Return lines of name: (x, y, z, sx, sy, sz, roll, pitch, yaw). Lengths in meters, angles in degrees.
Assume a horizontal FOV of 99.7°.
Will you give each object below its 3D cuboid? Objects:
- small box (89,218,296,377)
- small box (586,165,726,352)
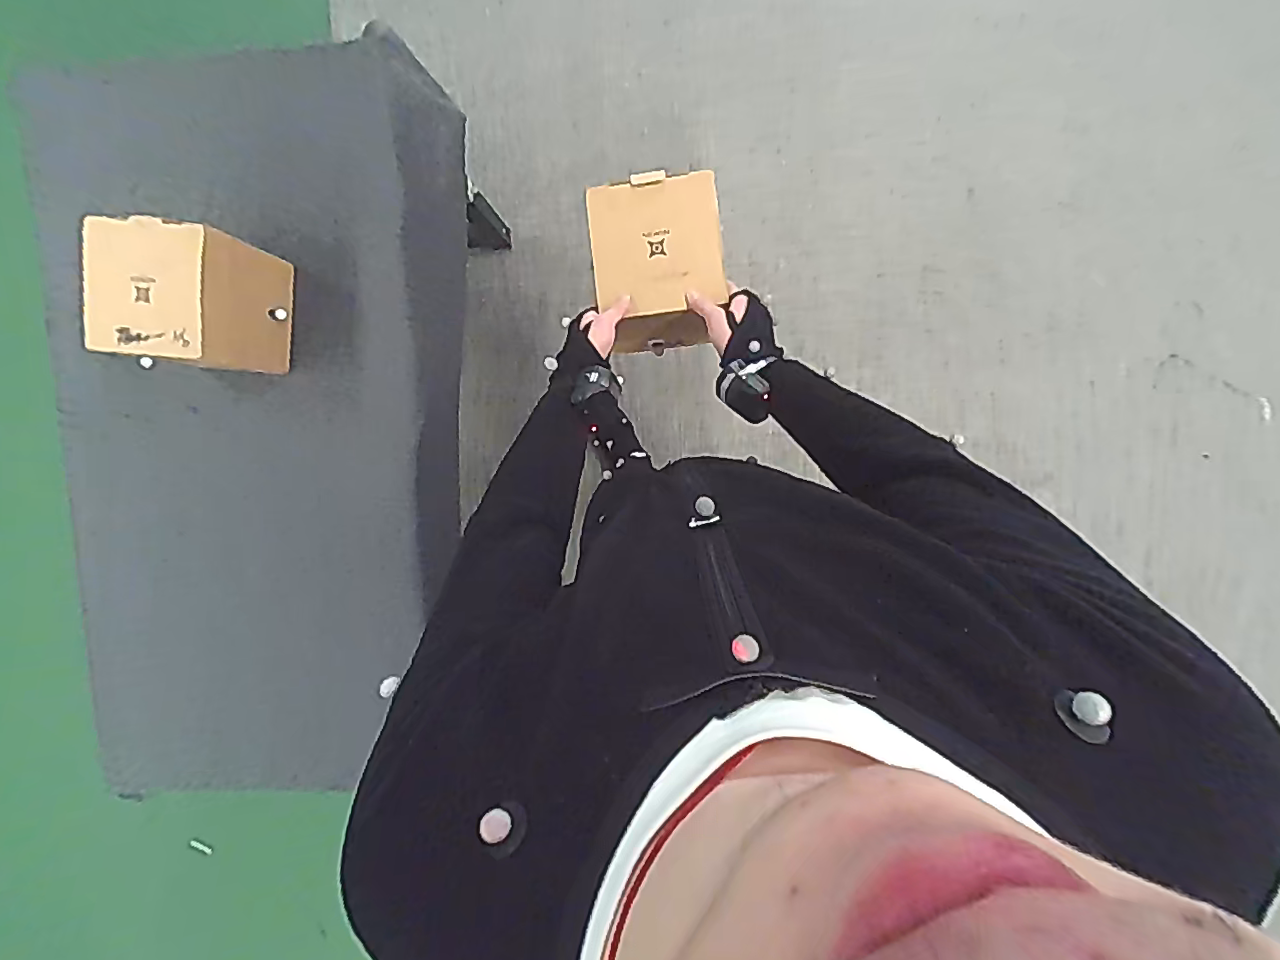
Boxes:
small box: (-0.640, -0.256, 0.793, 0.168, 0.176, 0.179, 6, 94, 3)
small box: (0.024, -0.290, 0.742, 0.168, 0.176, 0.179, -5, 87, 5)
